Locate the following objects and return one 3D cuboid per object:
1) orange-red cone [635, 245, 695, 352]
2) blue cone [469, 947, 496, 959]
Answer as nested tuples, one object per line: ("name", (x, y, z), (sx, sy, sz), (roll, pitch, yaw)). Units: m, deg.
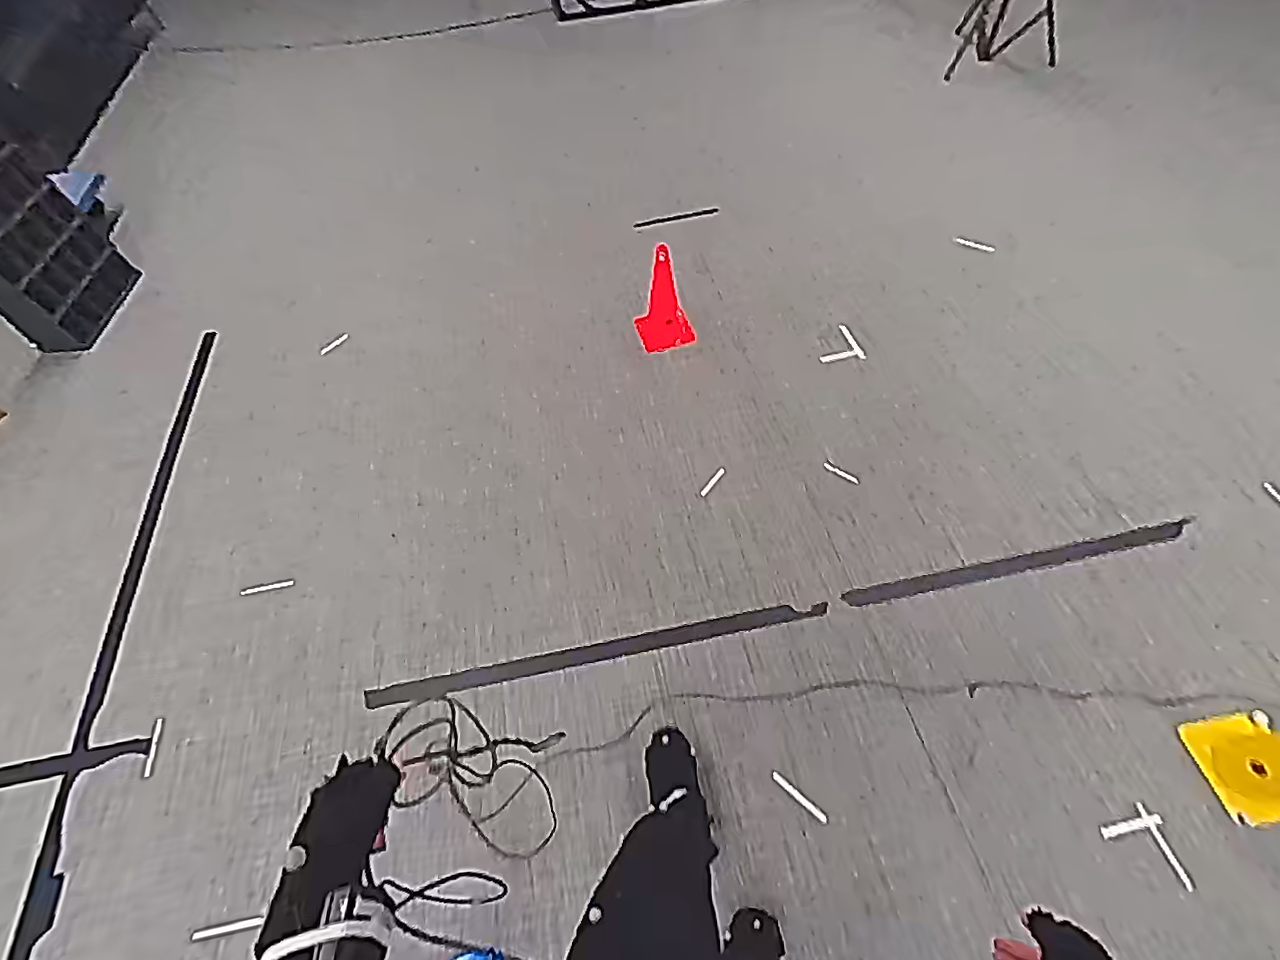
("orange-red cone", (0.080, -0.659, 1.903), (0.199, 0.360, 0.198), (-16, 57, -4))
("blue cone", (-0.369, 0.967, 0.910), (0.193, 0.380, 0.192), (-16, 58, -6))
